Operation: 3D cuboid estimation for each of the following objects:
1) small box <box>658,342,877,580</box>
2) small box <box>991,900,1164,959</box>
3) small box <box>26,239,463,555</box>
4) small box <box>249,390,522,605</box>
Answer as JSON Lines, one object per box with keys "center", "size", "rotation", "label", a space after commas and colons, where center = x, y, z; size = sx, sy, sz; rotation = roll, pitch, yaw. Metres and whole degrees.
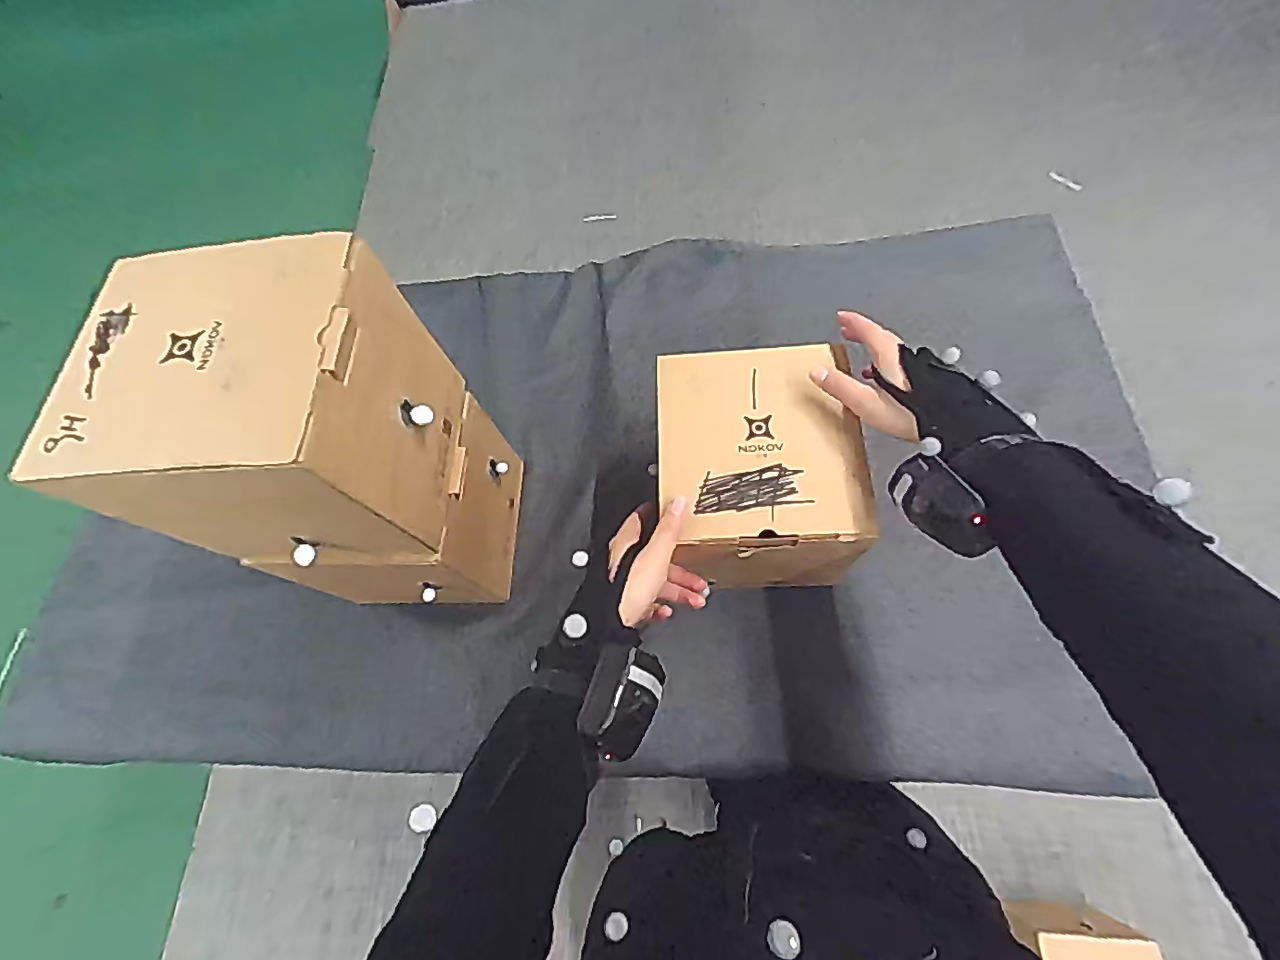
{"center": [0.107, -0.005, 0.515], "size": [0.168, 0.176, 0.179], "rotation": [-3, 66, 6], "label": "small box"}
{"center": [0.717, 0.812, 0.881], "size": [0.179, 0.176, 0.168], "rotation": [-1, 66, 7], "label": "small box"}
{"center": [-0.250, -0.046, 0.399], "size": [0.179, 0.176, 0.168], "rotation": [-3, 66, 5], "label": "small box"}
{"center": [-0.230, 0.026, 0.545], "size": [0.179, 0.176, 0.168], "rotation": [-2, 65, 7], "label": "small box"}
